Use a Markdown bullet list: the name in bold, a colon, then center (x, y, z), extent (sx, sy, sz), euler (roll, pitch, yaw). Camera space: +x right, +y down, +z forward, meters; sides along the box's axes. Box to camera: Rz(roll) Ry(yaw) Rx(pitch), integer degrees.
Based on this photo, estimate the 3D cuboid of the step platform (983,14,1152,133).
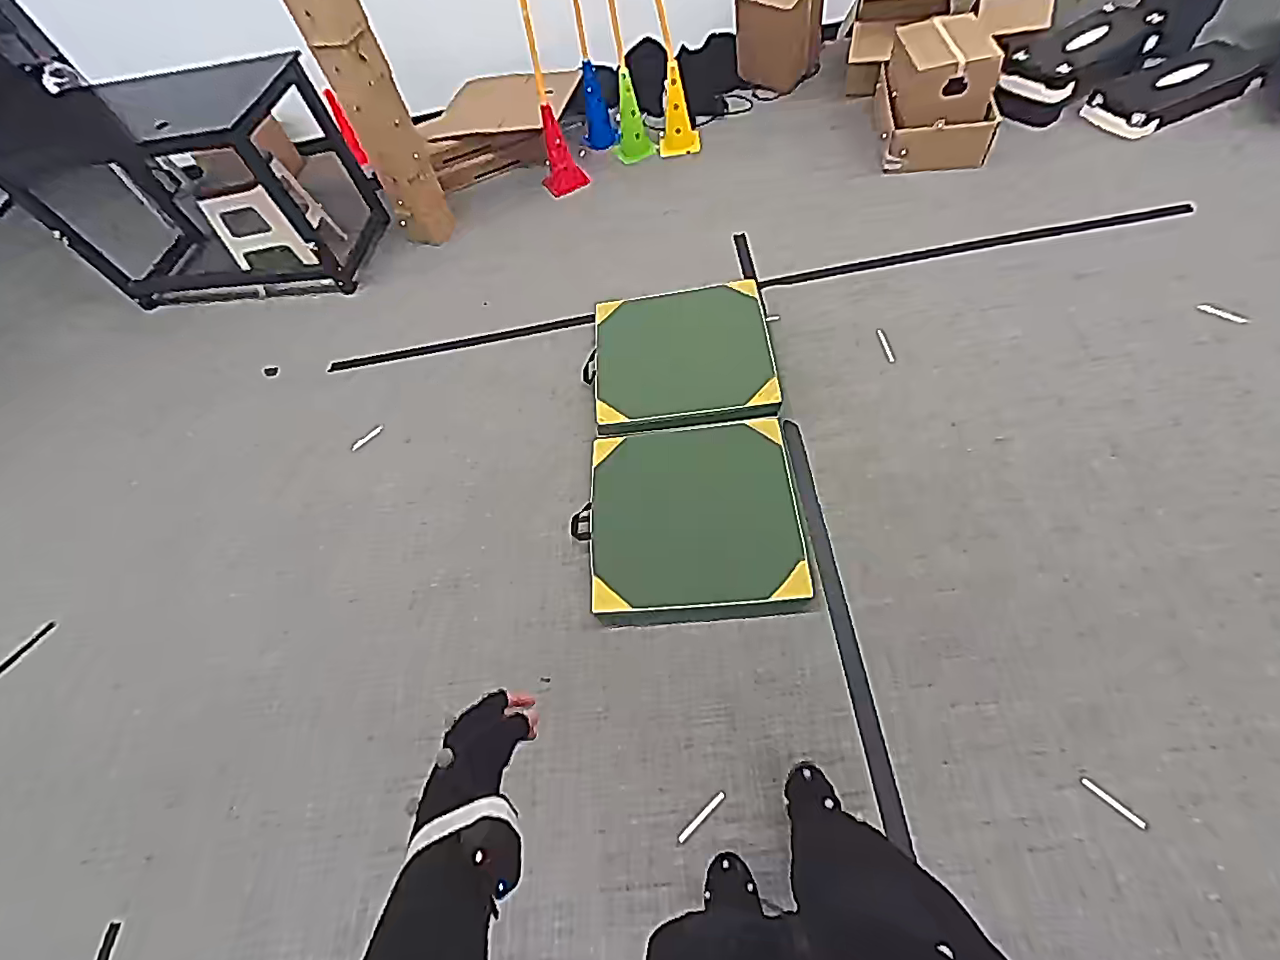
- **step platform**: center (1.895, -1.815, 2.404), extent (0.684, 0.204, 0.286), euler (-33, 59, -10)
